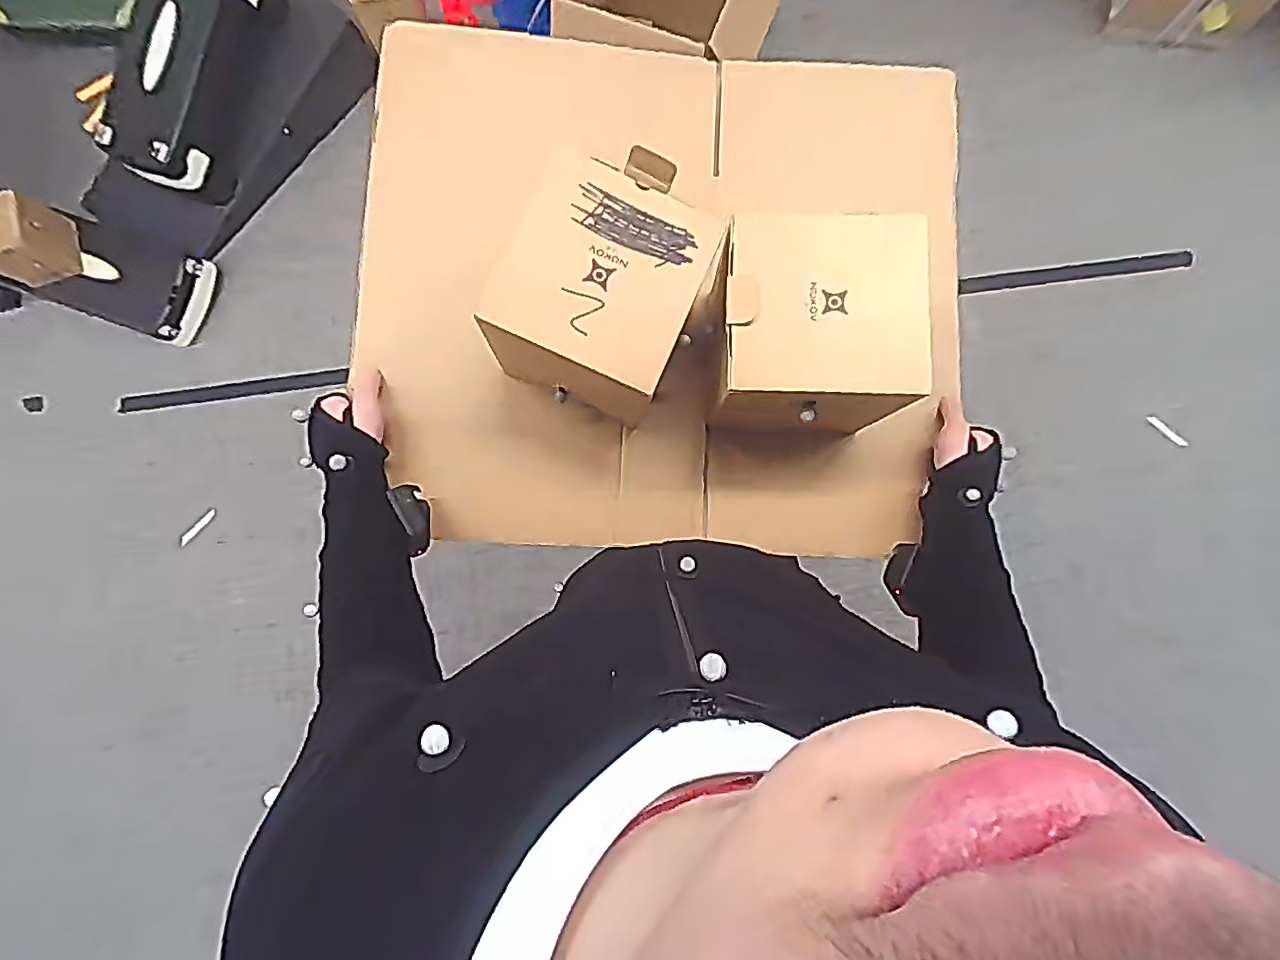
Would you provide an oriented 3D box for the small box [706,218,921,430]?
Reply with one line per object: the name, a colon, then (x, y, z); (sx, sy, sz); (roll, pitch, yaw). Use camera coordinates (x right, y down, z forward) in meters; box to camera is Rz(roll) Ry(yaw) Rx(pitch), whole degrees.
small box: (0.168, -0.150, 0.571); (0.179, 0.176, 0.168); (1, 84, 2)
